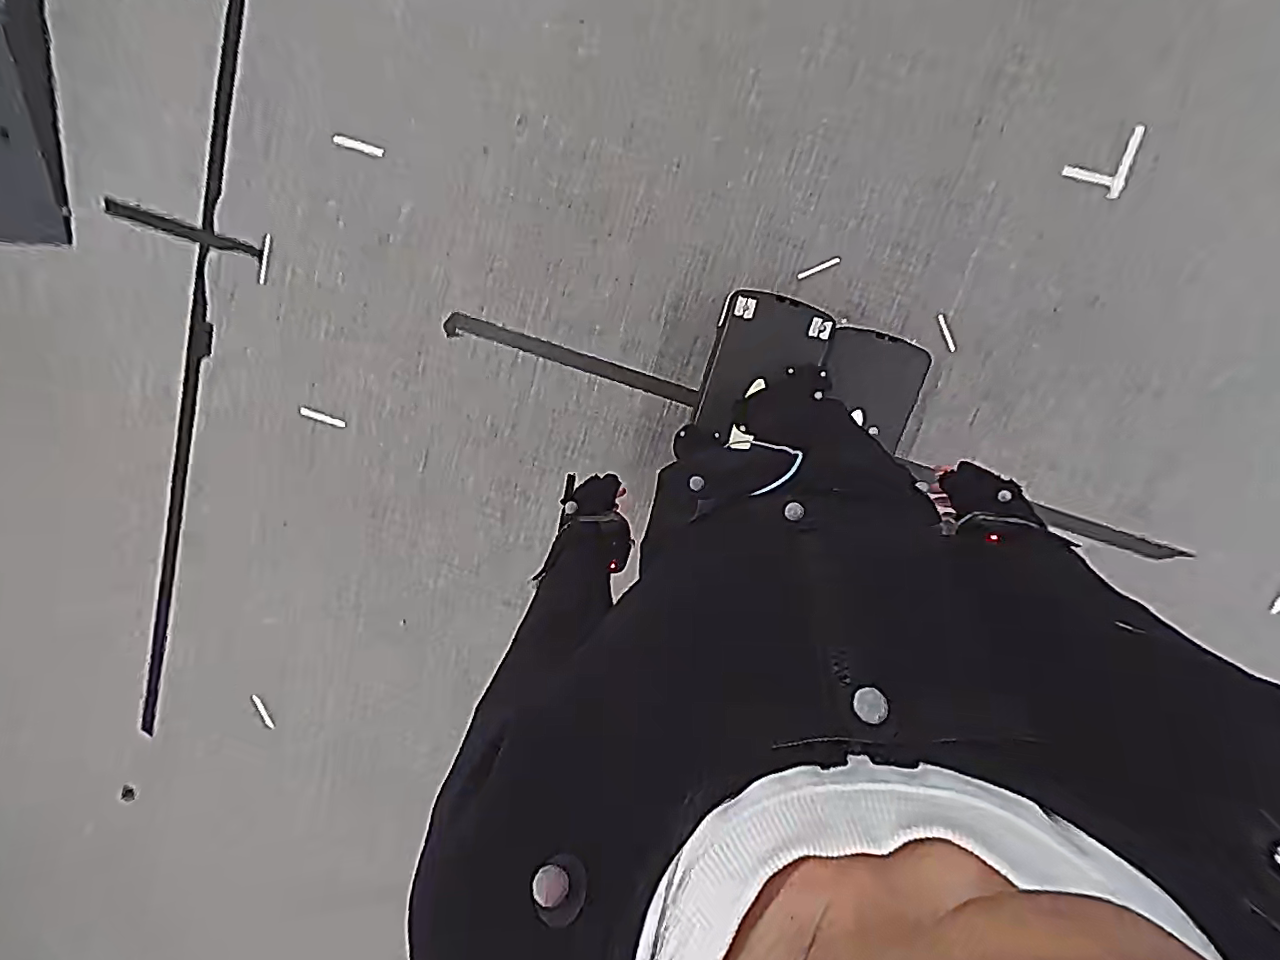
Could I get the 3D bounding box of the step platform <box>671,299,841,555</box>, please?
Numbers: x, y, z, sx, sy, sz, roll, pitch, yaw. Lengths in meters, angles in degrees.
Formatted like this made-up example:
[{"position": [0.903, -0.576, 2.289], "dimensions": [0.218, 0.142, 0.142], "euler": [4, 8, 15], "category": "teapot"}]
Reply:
[{"position": [0.307, -0.140, 1.502], "dimensions": [0.286, 0.204, 0.684], "euler": [16, 100, 2], "category": "step platform"}]
